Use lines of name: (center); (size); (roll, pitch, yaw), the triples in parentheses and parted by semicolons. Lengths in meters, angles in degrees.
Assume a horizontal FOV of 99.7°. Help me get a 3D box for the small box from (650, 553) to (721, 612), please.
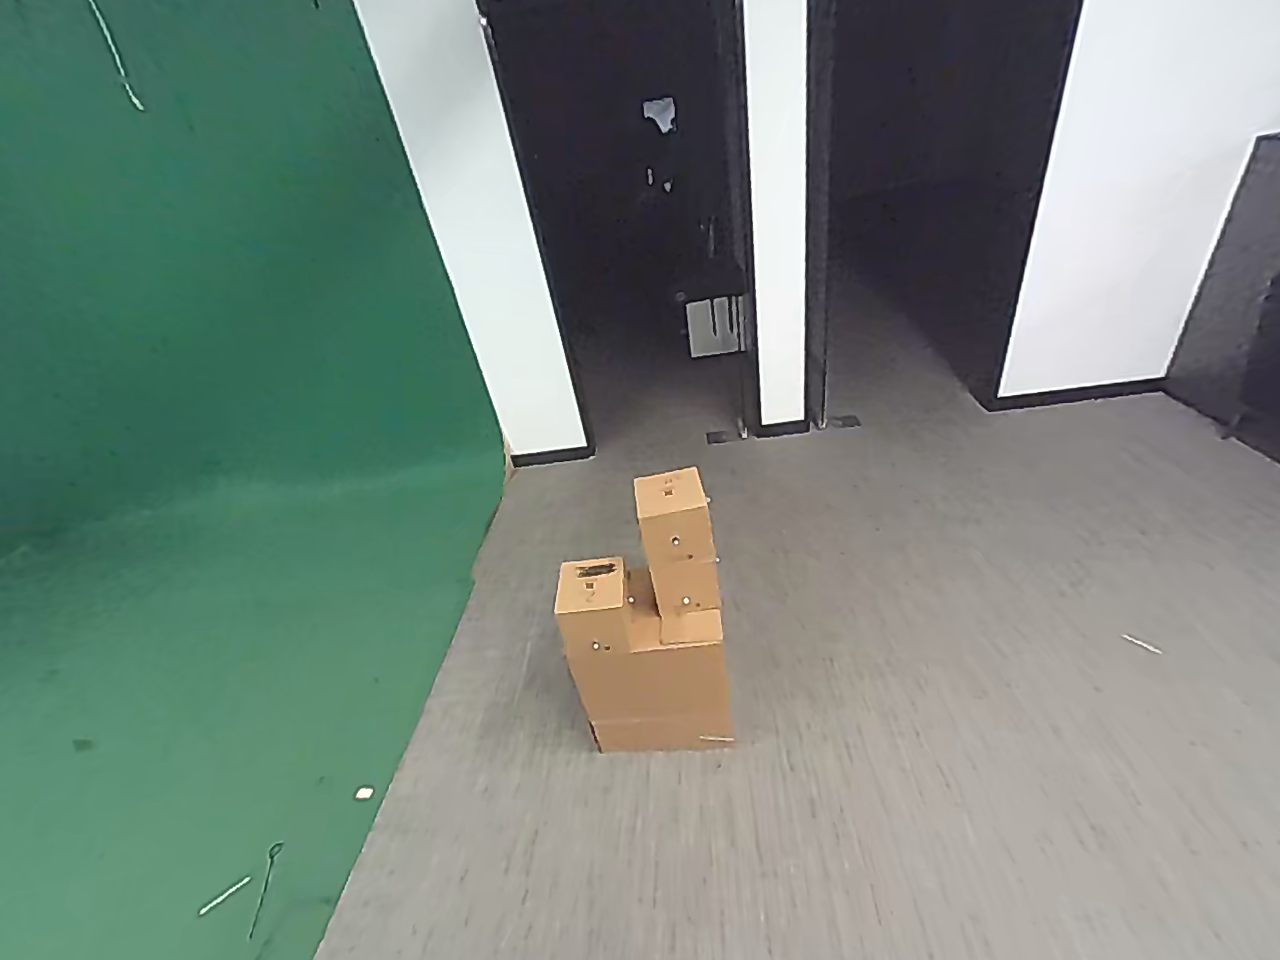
small box: (0.120, 0.228, 1.455); (0.168, 0.176, 0.179); (-10, 34, 6)

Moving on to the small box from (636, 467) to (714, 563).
small box: (0.088, 0.094, 1.365); (0.168, 0.176, 0.179); (-10, 33, 3)
